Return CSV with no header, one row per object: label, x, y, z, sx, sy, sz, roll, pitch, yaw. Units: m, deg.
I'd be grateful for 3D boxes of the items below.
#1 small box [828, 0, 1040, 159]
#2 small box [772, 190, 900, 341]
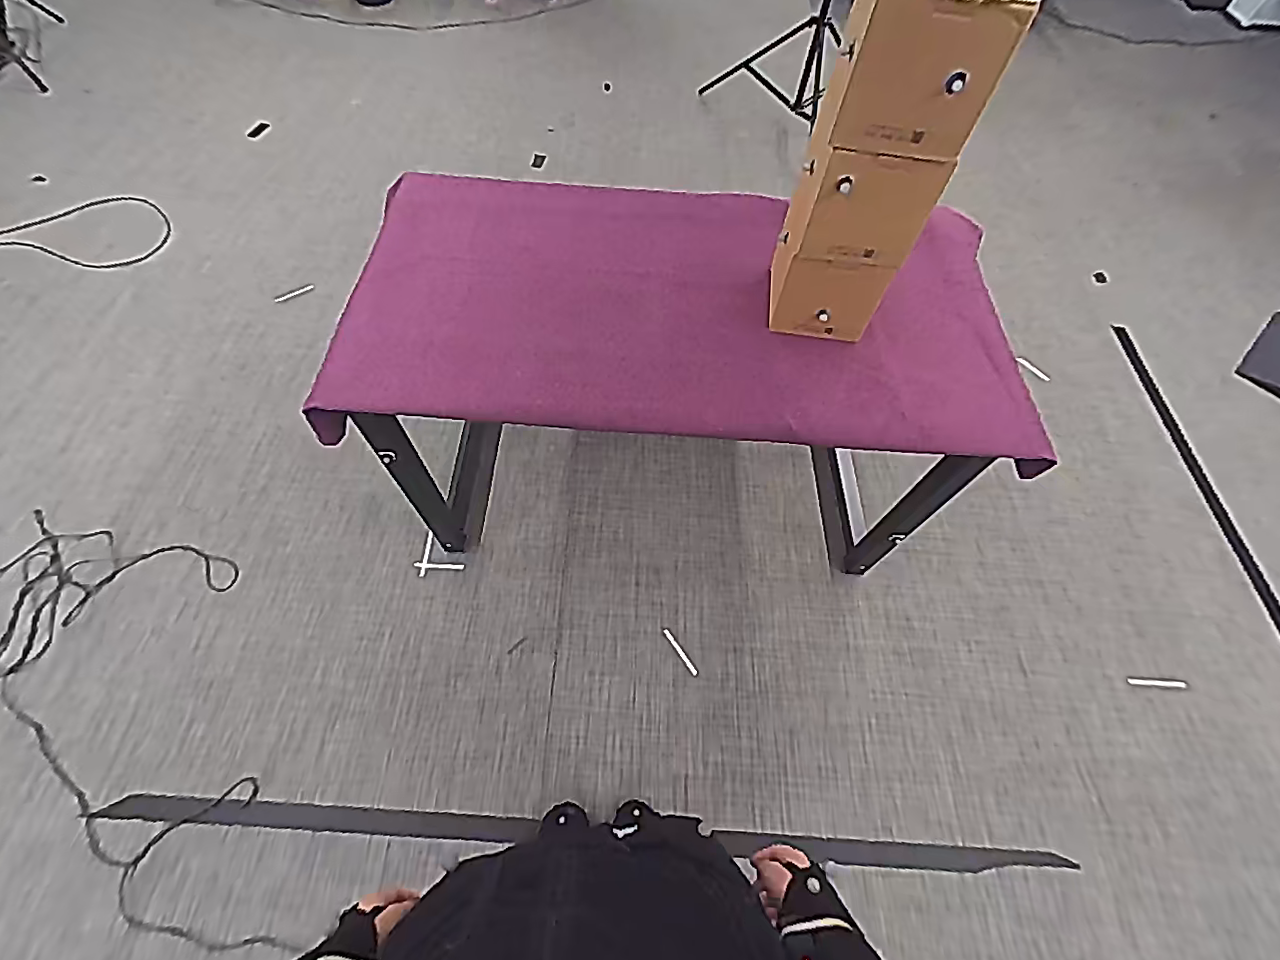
small box,0.343,-0.532,0.670,0.168,0.176,0.179,10,59,2
small box,0.334,-0.376,0.957,0.168,0.176,0.179,8,61,3
